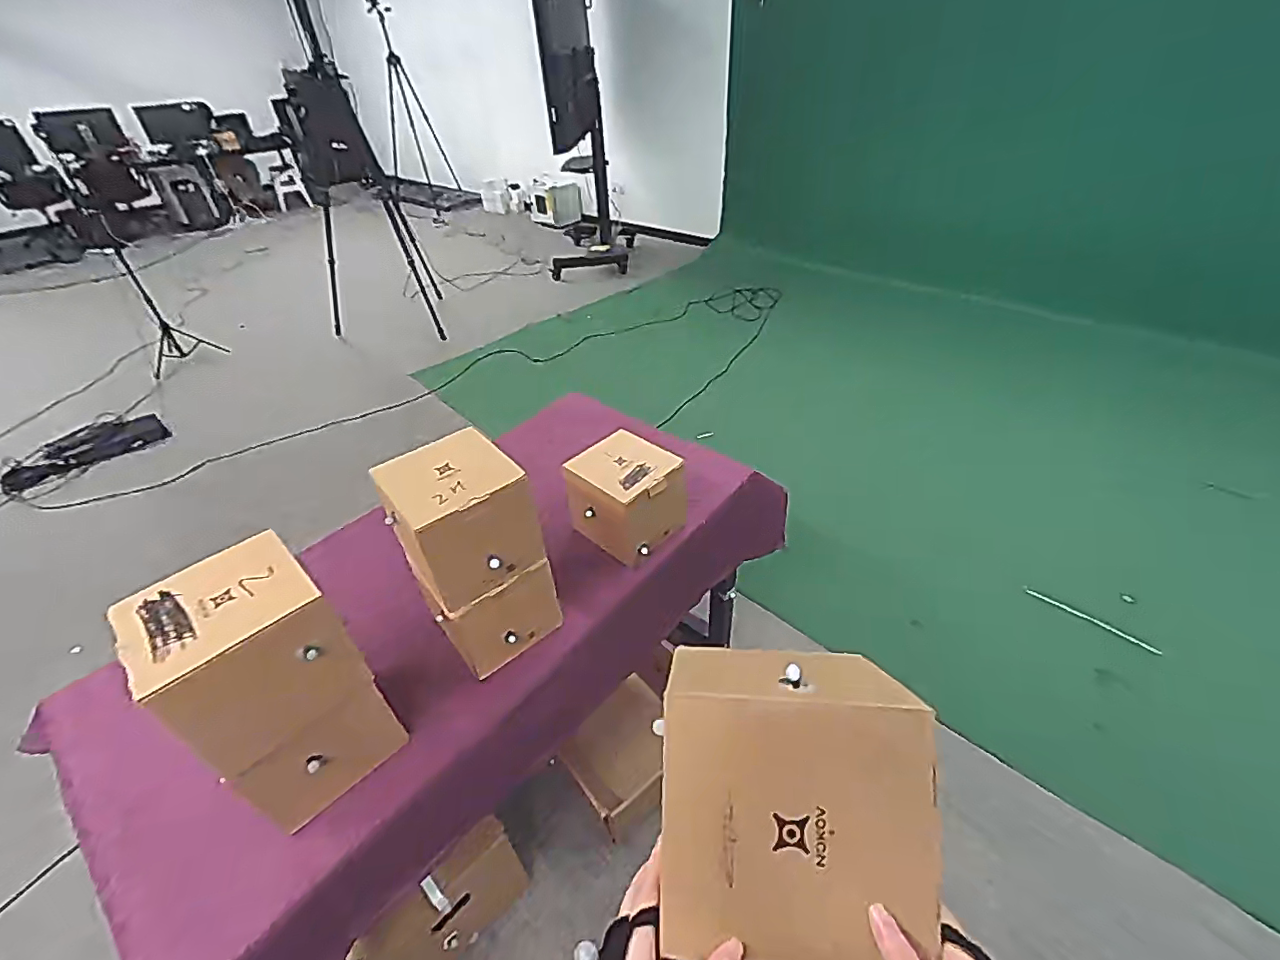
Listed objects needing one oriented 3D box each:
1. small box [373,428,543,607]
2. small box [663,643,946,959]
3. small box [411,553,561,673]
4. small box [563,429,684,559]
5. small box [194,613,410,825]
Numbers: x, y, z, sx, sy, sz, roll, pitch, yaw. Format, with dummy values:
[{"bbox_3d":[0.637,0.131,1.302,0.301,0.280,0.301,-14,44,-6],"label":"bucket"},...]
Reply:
[{"bbox_3d":[-0.267,0.054,0.814,0.168,0.176,0.179,-30,47,-28],"label":"small box"},{"bbox_3d":[0.113,0.231,0.426,0.179,0.176,0.168,2,84,7],"label":"small box"},{"bbox_3d":[-0.254,0.185,0.913,0.168,0.176,0.179,-31,47,-29],"label":"small box"},{"bbox_3d":[-0.026,0.031,1.077,0.179,0.176,0.168,29,50,35],"label":"small box"},{"bbox_3d":[-0.457,0.330,0.750,0.168,0.176,0.179,30,51,34],"label":"small box"}]
